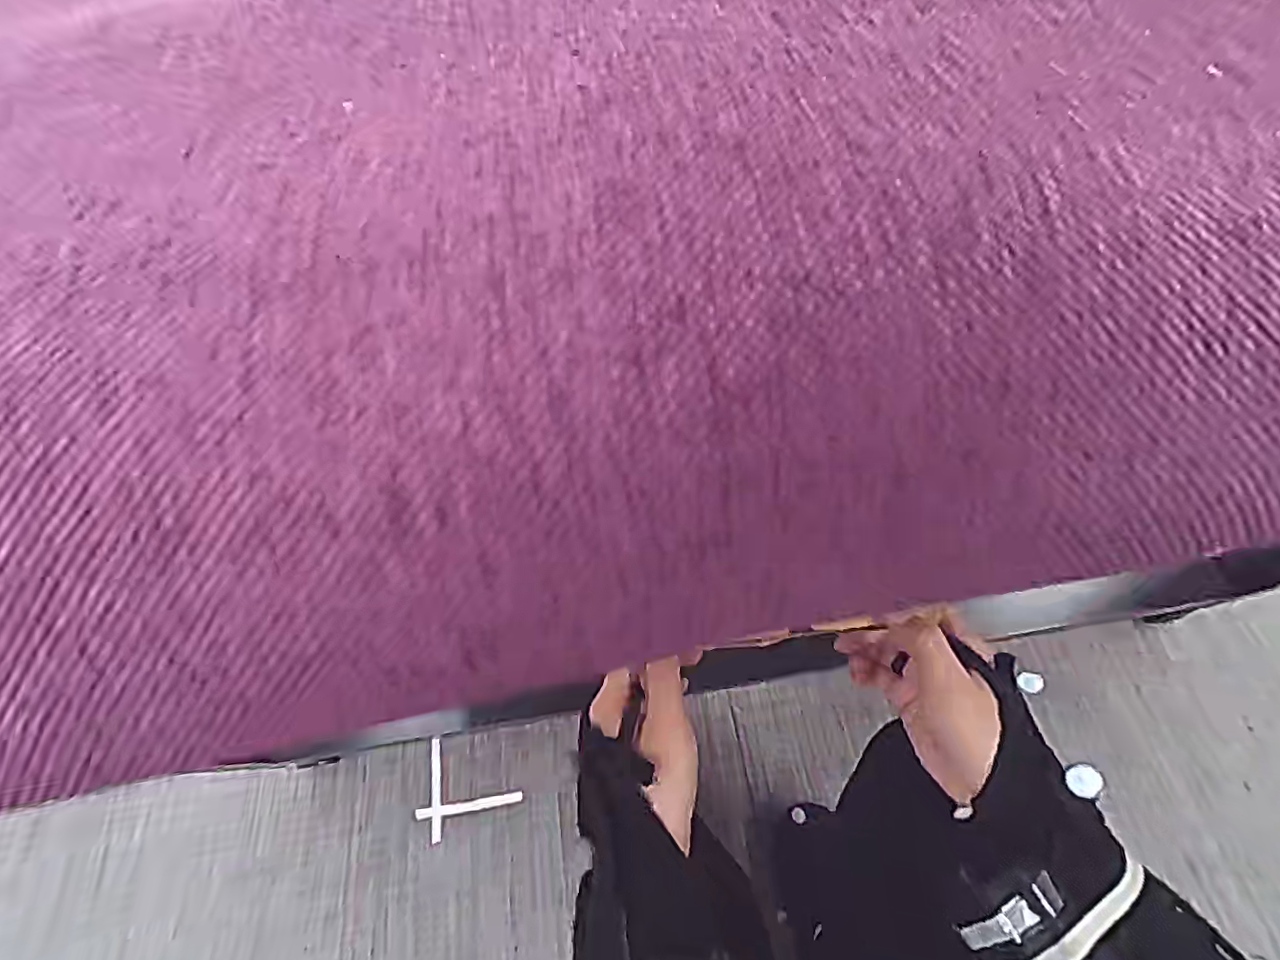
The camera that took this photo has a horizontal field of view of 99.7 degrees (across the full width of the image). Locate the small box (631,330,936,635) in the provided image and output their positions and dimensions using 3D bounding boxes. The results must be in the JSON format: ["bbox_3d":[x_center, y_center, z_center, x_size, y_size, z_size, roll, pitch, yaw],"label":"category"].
[{"bbox_3d":[0.084,0.010,0.404,0.168,0.176,0.179,-5,80,-1],"label":"small box"}]
